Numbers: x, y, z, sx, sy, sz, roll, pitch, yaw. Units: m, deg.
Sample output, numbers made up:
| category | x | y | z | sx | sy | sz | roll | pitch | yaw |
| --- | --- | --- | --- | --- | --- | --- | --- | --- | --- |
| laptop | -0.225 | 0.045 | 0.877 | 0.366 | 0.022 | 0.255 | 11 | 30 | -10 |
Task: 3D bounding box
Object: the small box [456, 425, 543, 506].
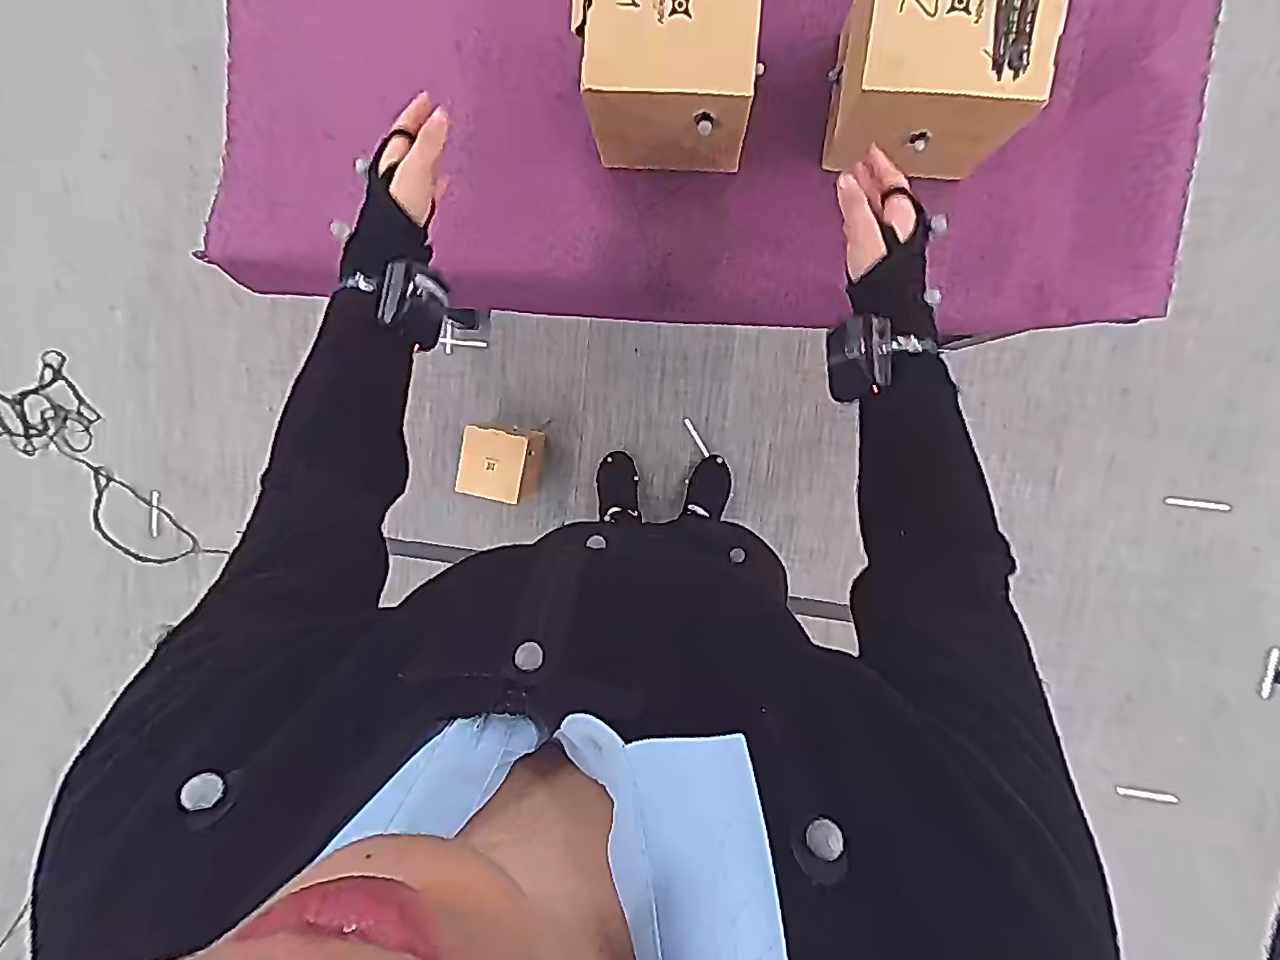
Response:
| category | x | y | z | sx | sy | sz | roll | pitch | yaw |
| --- | --- | --- | --- | --- | --- | --- | --- | --- | --- |
| small box | -0.364 | -0.044 | 1.429 | 0.168 | 0.176 | 0.179 | 12 | 97 | 3 |
